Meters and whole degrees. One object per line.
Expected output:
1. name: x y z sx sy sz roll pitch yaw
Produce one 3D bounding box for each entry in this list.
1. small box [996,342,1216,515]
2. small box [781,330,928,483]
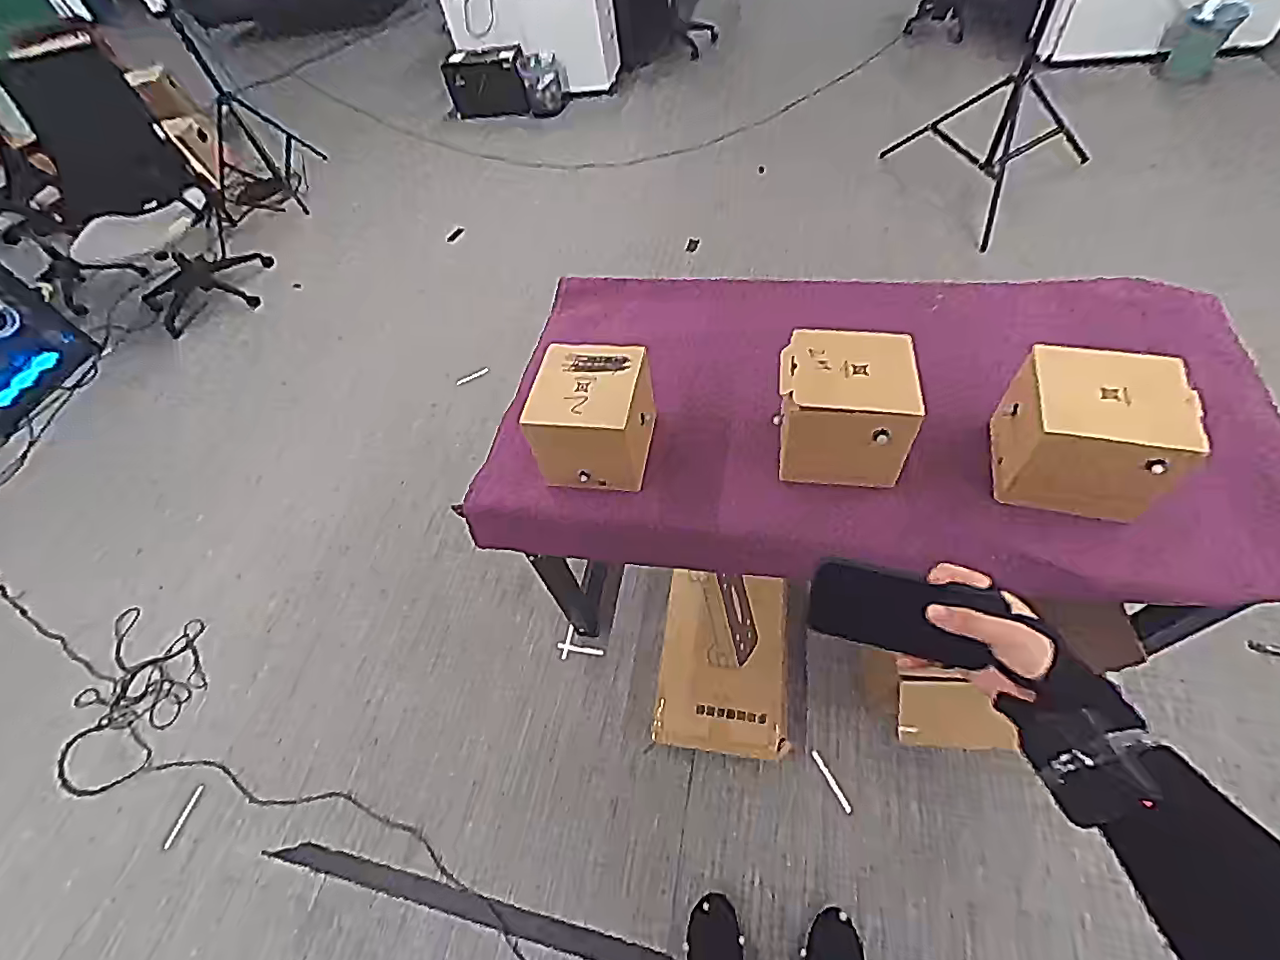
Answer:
1. small box: 0.624 -0.069 0.759 0.179 0.176 0.168 10 57 15
2. small box: 0.317 -0.111 0.835 0.179 0.176 0.168 4 54 11
